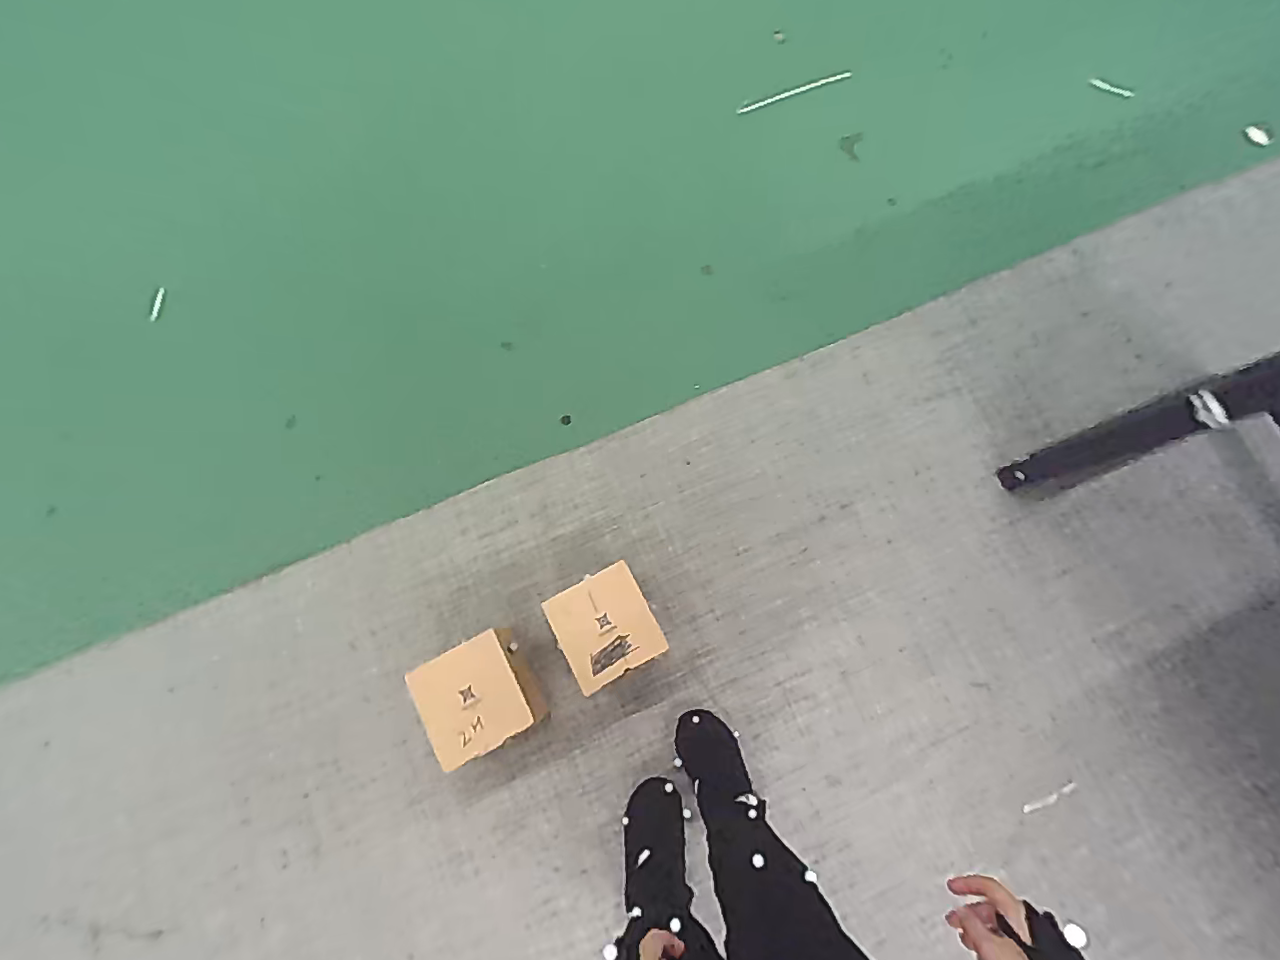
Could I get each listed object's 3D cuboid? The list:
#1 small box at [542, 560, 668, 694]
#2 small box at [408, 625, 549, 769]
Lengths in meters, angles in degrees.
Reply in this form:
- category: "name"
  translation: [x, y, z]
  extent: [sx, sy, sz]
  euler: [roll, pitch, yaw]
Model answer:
- category: "small box"
  translation: [-0.061, 0.268, 1.008]
  extent: [0.168, 0.176, 0.179]
  euler: [-27, 77, -7]
- category: "small box"
  translation: [-0.282, 0.379, 0.978]
  extent: [0.168, 0.176, 0.179]
  euler: [-28, 78, -6]
